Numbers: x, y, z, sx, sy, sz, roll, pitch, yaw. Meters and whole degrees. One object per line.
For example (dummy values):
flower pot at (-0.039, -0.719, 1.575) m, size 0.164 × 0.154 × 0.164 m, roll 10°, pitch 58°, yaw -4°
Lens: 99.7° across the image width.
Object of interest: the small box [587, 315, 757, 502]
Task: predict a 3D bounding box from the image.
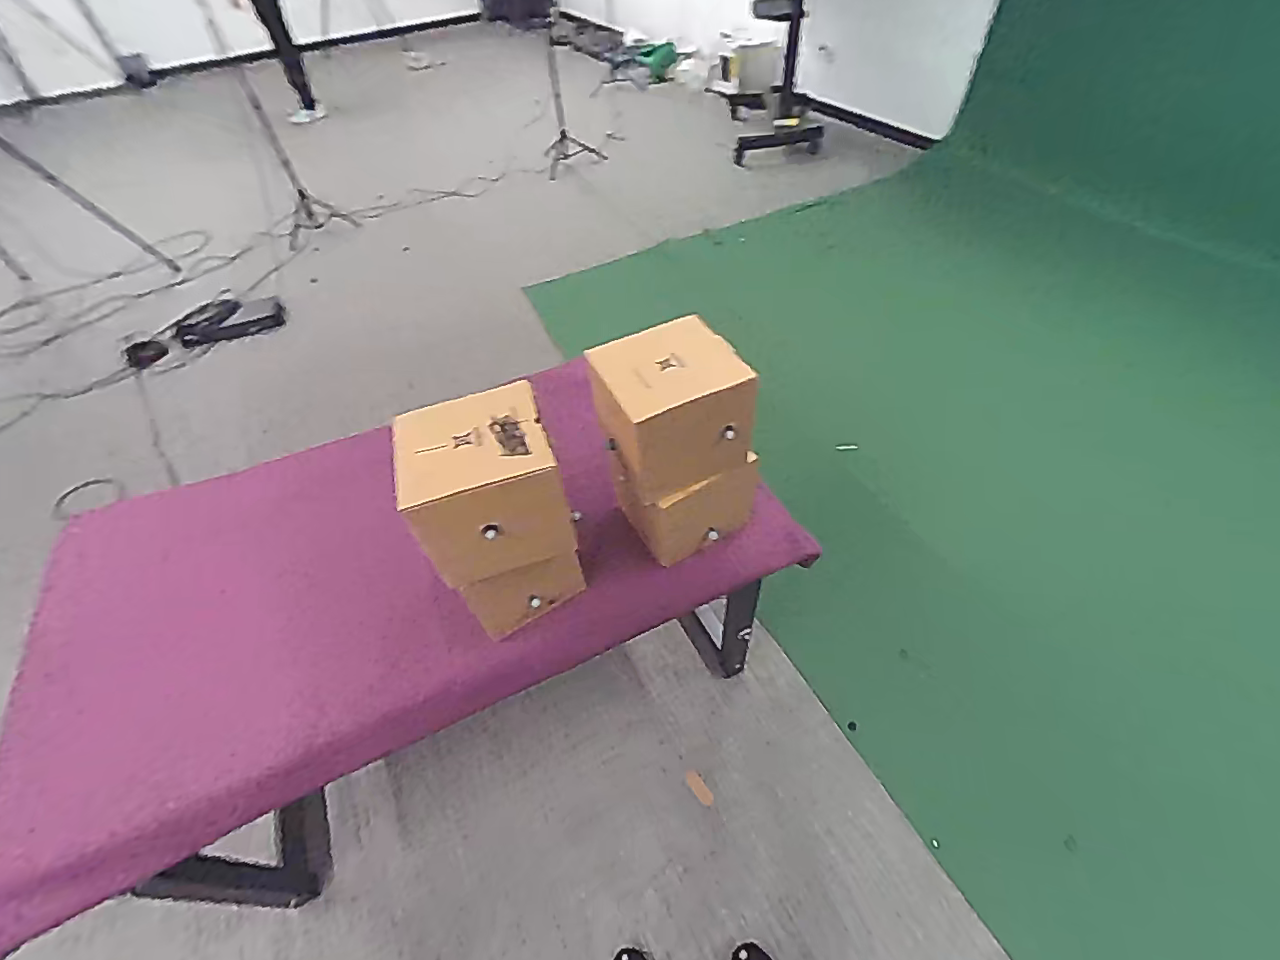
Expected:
small box at (0.042, -0.100, 0.769) m, size 0.179 × 0.176 × 0.168 m, roll -22°, pitch 51°, yaw -12°

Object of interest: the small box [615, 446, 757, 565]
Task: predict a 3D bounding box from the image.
small box at (0.068, 0.006, 0.891) m, size 0.179 × 0.176 × 0.168 m, roll -26°, pitch 52°, yaw -16°

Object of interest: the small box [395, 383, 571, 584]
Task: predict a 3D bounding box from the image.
small box at (-0.194, 0.007, 0.699) m, size 0.179 × 0.176 × 0.168 m, roll -17°, pitch 49°, yaw -8°

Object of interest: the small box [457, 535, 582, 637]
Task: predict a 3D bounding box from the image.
small box at (-0.207, 0.105, 0.833) m, size 0.168 × 0.176 × 0.179 m, roll -29°, pitch 52°, yaw -18°
